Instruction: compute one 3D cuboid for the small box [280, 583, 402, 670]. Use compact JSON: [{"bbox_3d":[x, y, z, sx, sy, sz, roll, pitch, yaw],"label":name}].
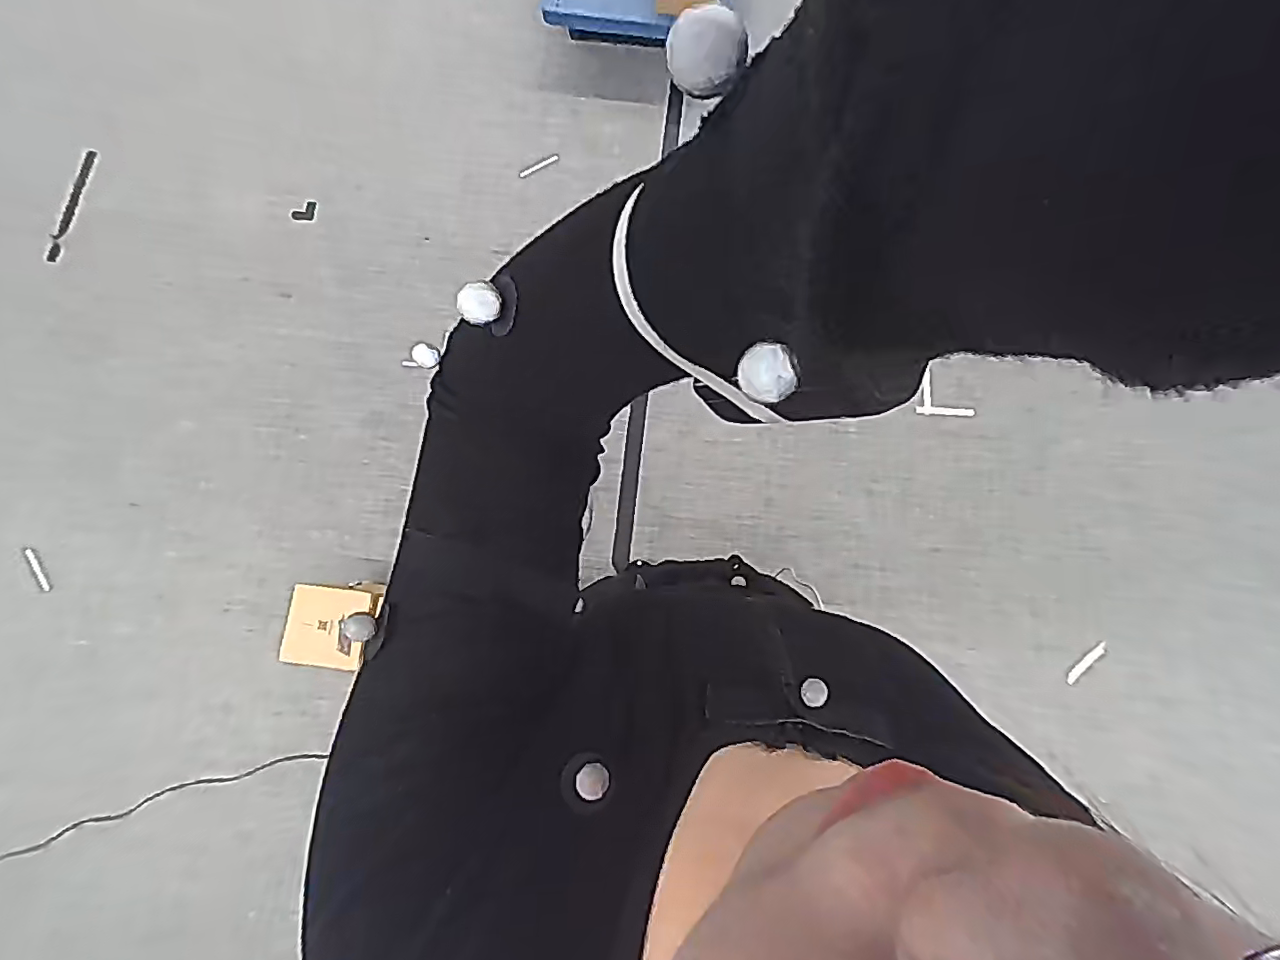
[{"bbox_3d":[-0.674,0.328,1.245,0.179,0.176,0.168,7,79,2],"label":"small box"}]
